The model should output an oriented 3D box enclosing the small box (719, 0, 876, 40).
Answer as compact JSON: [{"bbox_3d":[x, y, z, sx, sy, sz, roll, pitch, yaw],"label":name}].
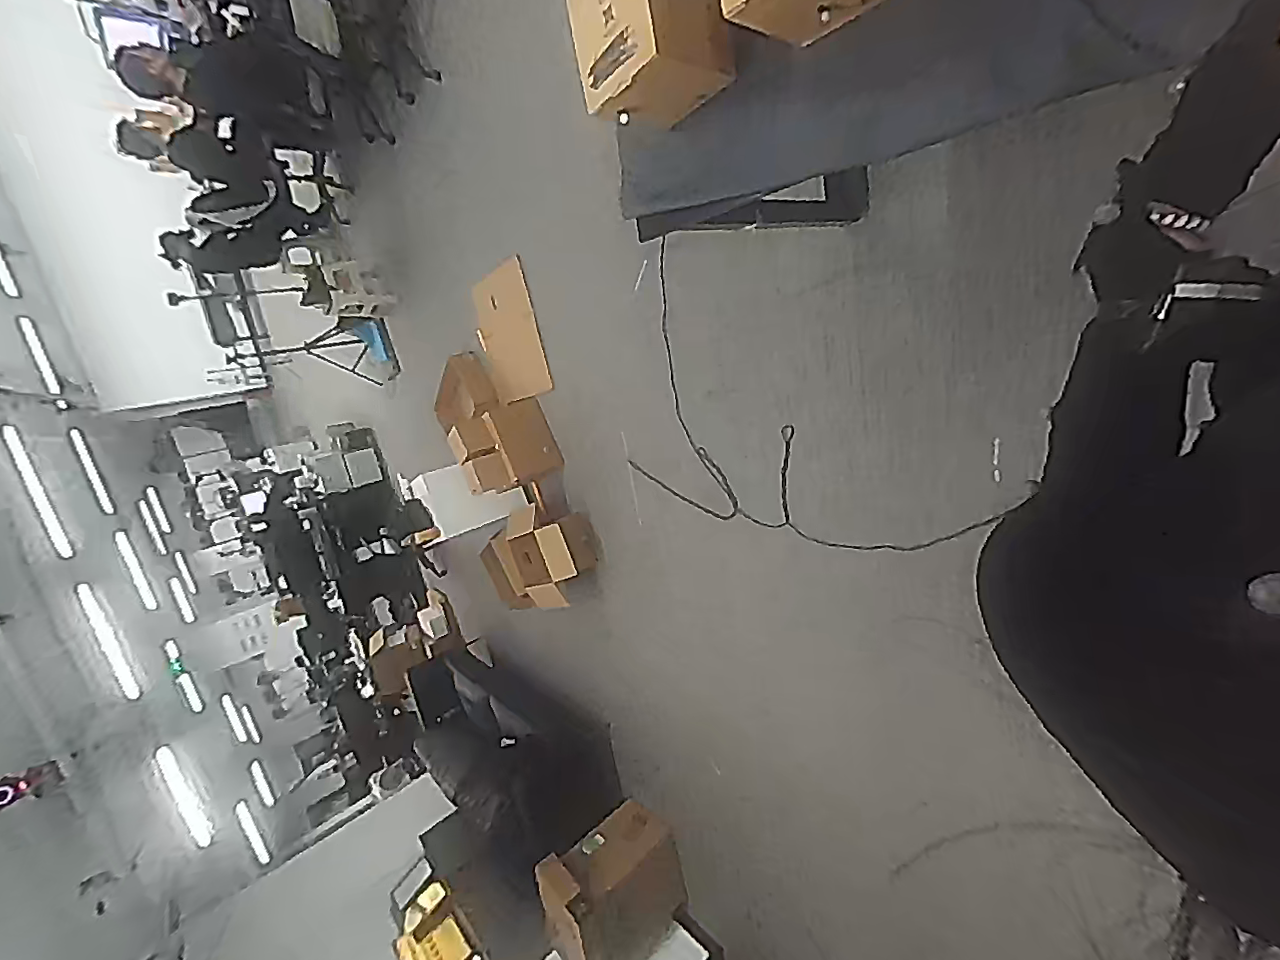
[{"bbox_3d":[0.196,-0.647,0.607,0.168,0.176,0.179,8,114,48],"label":"small box"}]
